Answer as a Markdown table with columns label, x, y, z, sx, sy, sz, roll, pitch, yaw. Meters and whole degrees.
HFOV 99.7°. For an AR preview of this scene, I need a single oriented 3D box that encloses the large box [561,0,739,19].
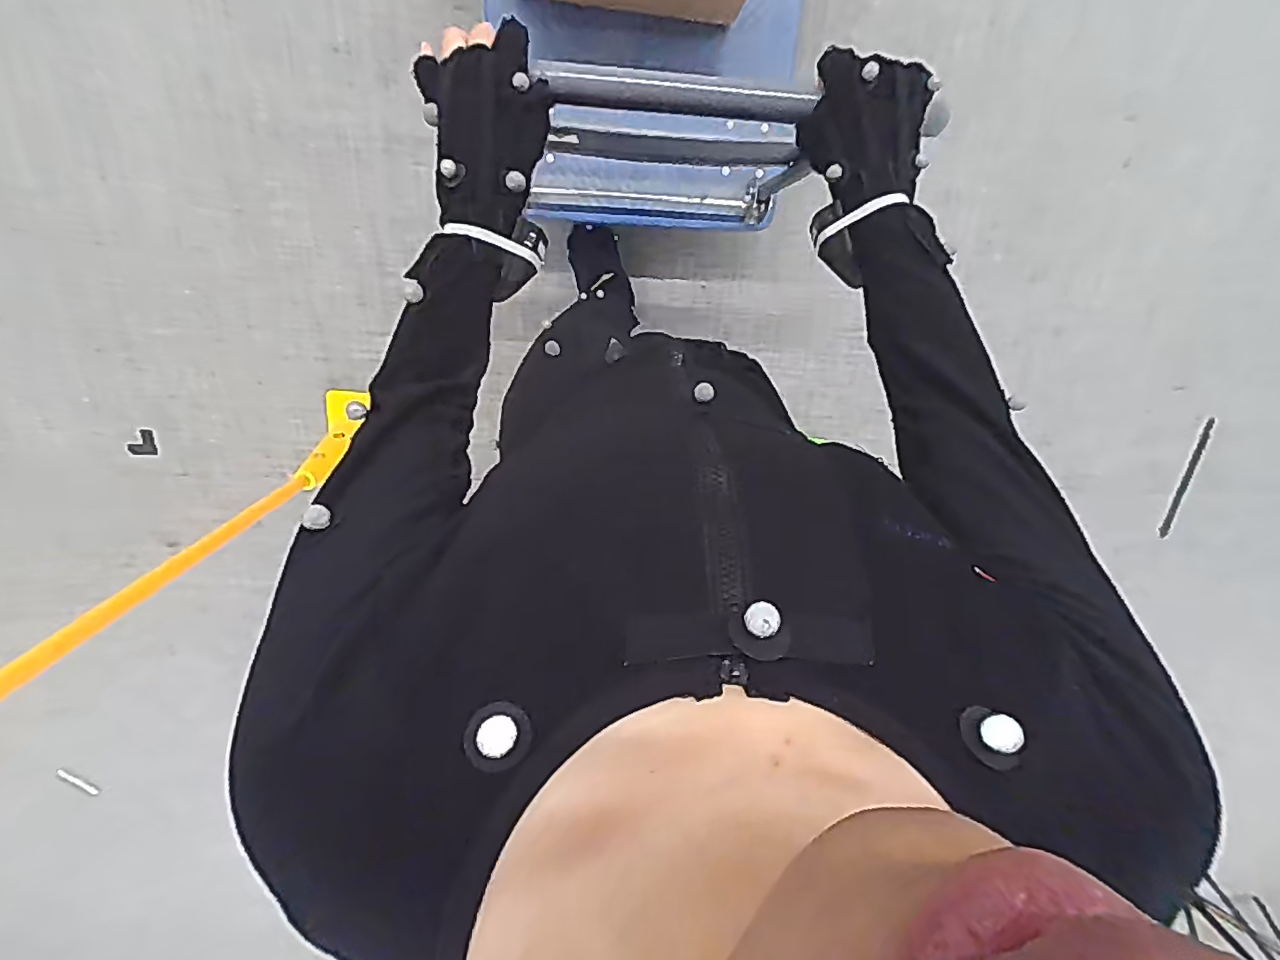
| label | x | y | z | sx | sy | sz | roll | pitch | yaw |
| --- | --- | --- | --- | --- | --- | --- | --- | --- | --- |
| large box | -0.008 | -0.950 | 0.804 | 0.408 | 0.320 | 0.320 | 3 | 112 | -5 |
